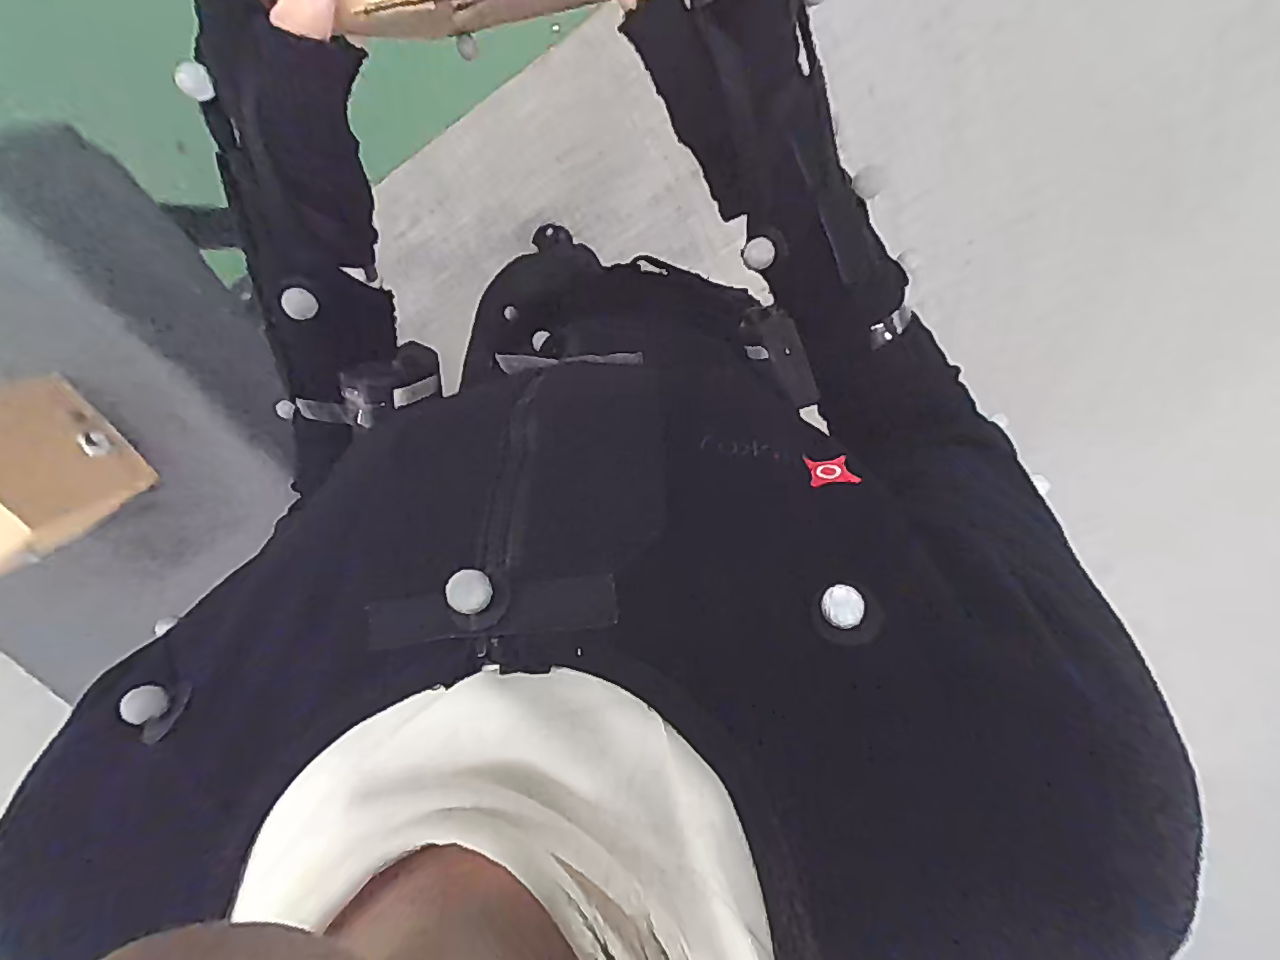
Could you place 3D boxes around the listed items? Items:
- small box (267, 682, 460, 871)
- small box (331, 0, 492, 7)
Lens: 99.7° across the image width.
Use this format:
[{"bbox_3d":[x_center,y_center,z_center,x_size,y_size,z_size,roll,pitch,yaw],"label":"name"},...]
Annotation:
[{"bbox_3d":[-0.414,0.455,0.842,0.179,0.176,0.168,-36,108,19],"label":"small box"},{"bbox_3d":[-0.069,-0.323,0.224,0.168,0.176,0.179,-5,127,6],"label":"small box"}]
